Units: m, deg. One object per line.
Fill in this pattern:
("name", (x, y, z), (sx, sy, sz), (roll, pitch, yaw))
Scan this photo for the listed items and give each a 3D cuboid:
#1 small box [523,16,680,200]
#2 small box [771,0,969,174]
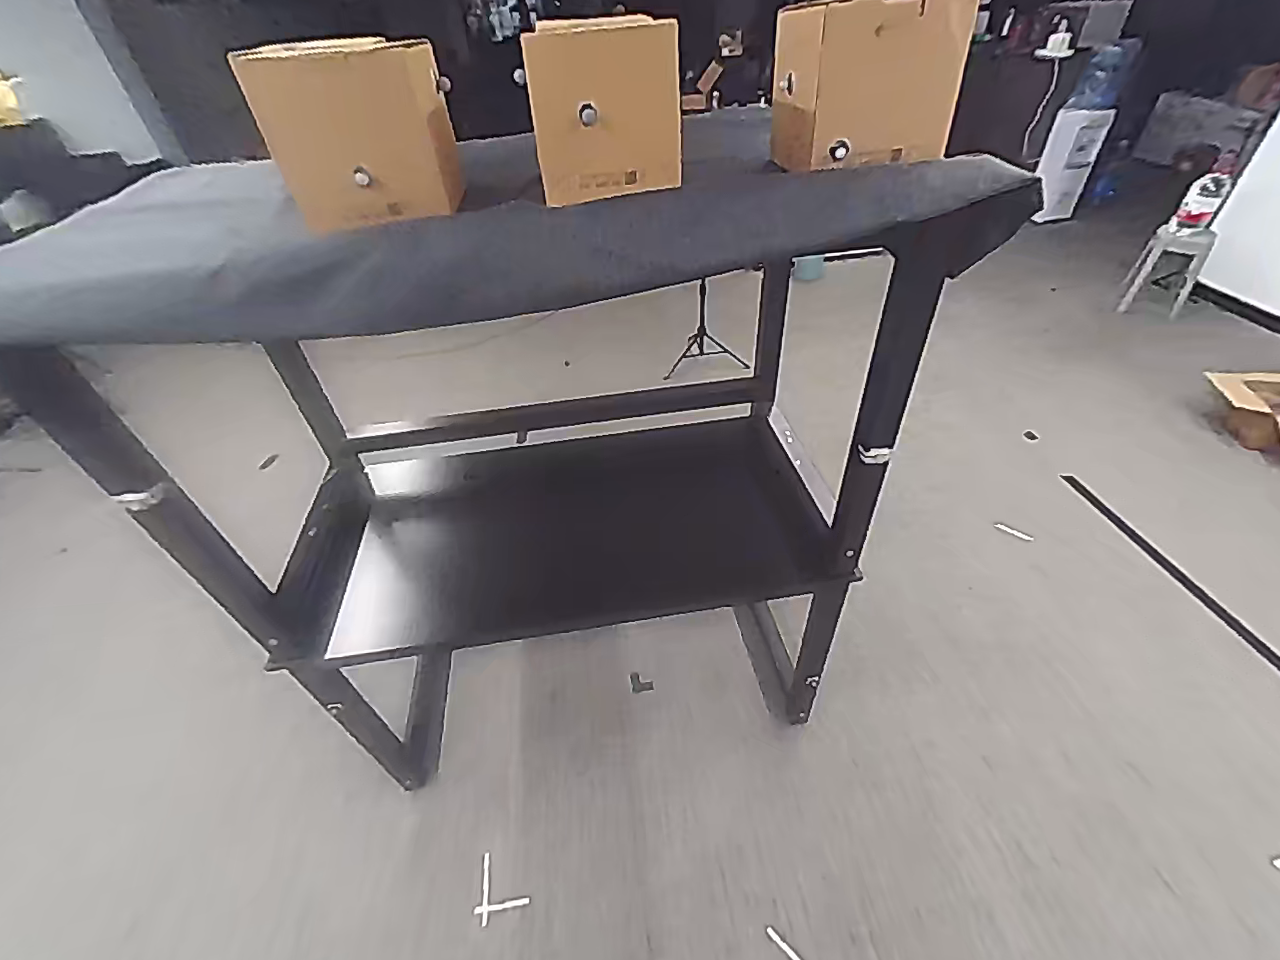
("small box", (-0.045, -0.461, 0.678), (0.168, 0.176, 0.179), (-8, 39, -4))
("small box", (0.270, -0.491, 0.676), (0.168, 0.176, 0.179), (-7, 38, -2))
